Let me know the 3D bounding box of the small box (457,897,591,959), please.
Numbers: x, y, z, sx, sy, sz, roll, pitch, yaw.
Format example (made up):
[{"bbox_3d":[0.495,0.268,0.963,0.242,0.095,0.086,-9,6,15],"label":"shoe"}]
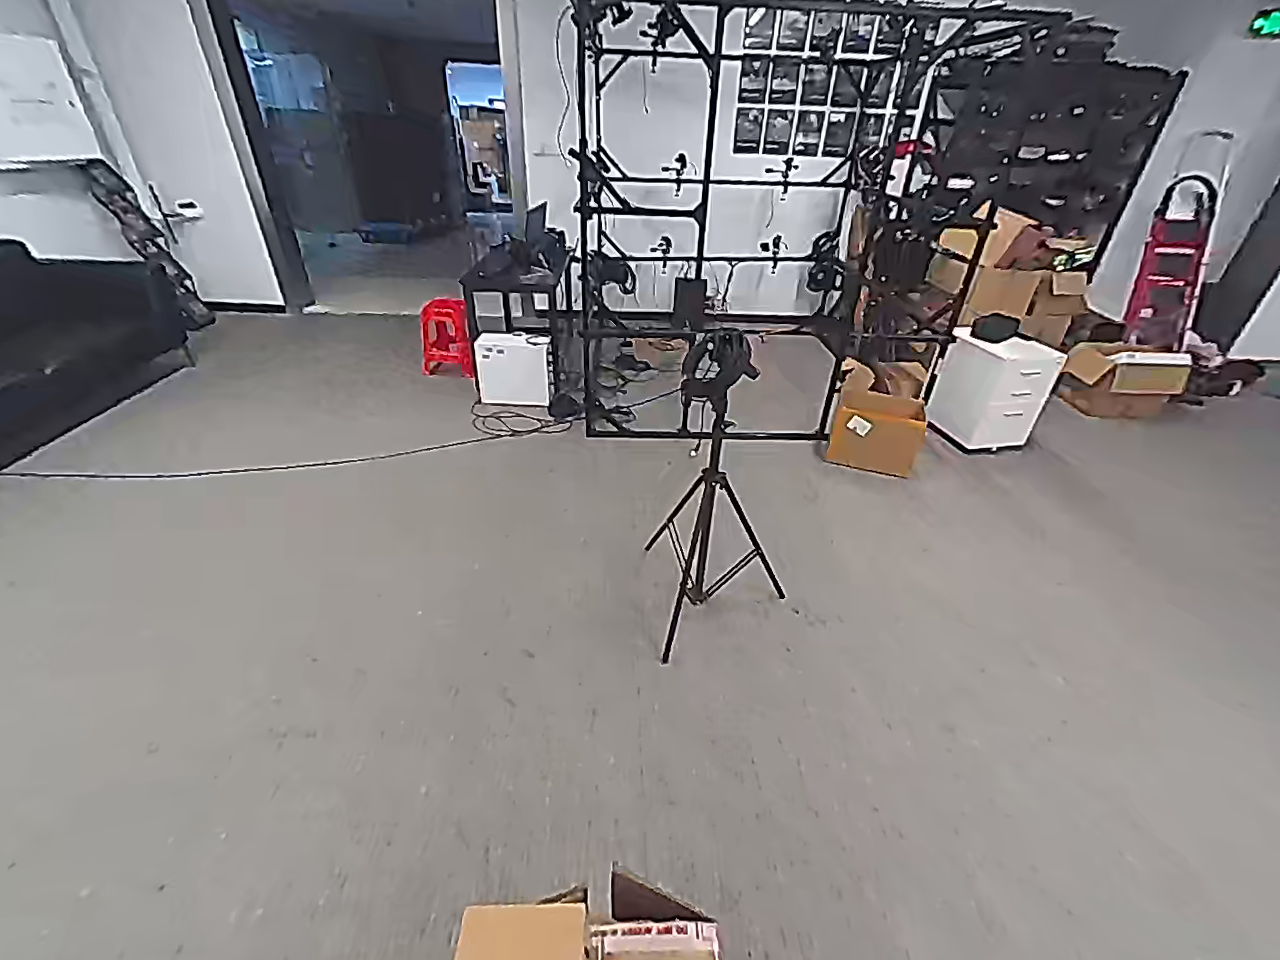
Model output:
[{"bbox_3d":[-0.154,0.693,0.720,0.168,0.176,0.179,-1,35,-1],"label":"small box"}]
